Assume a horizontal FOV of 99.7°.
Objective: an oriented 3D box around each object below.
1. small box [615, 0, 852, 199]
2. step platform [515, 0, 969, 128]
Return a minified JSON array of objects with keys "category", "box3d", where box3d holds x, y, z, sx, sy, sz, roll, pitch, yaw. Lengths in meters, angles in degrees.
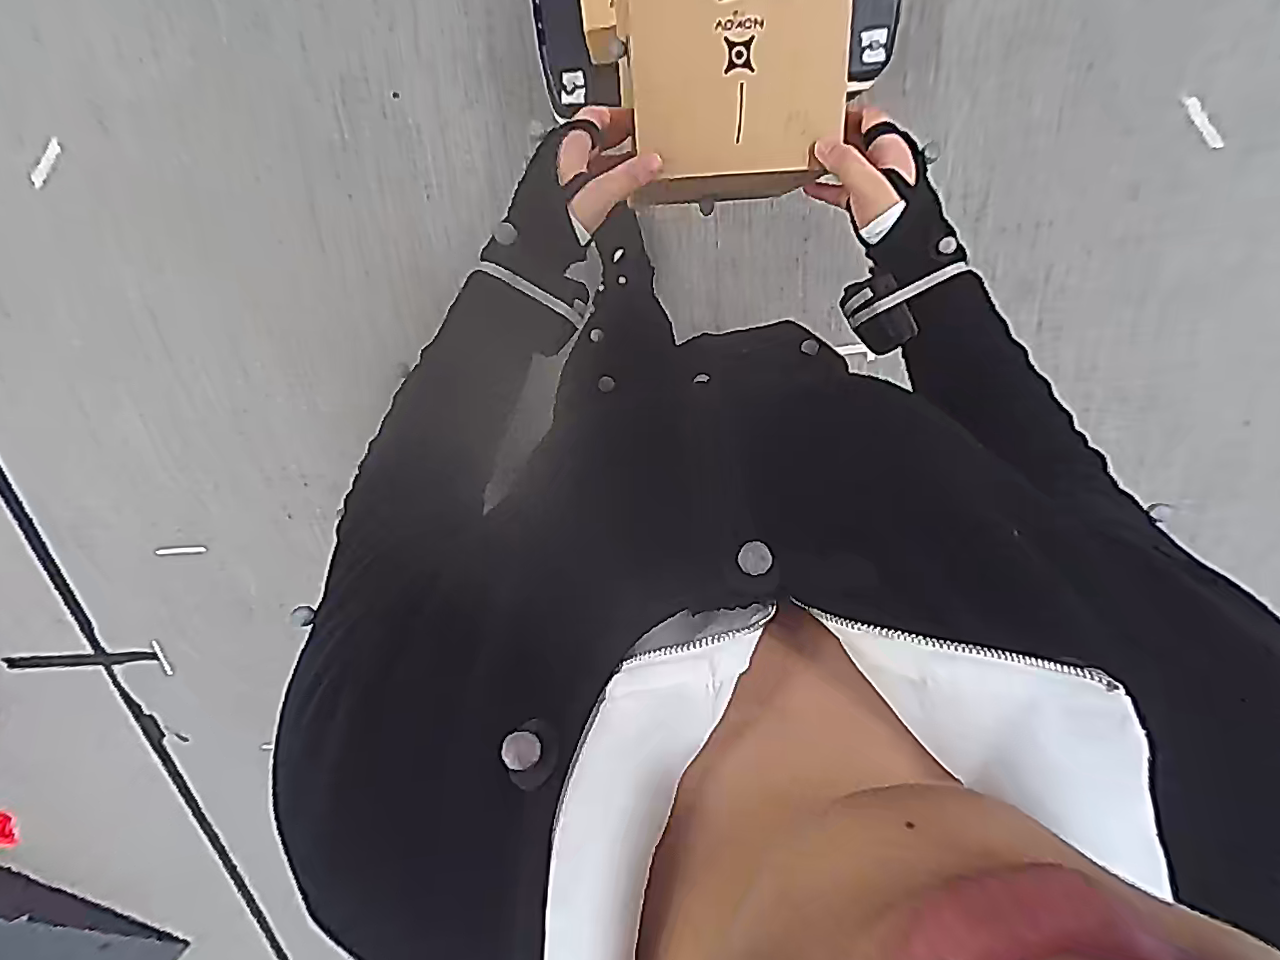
[{"category":"small box","box3d":[0.067,-0.356,0.470,0.168,0.176,0.179,-5,111,-2]},{"category":"step platform","box3d":[0.148,-0.783,0.873,0.684,0.204,0.286,-6,112,2]}]
